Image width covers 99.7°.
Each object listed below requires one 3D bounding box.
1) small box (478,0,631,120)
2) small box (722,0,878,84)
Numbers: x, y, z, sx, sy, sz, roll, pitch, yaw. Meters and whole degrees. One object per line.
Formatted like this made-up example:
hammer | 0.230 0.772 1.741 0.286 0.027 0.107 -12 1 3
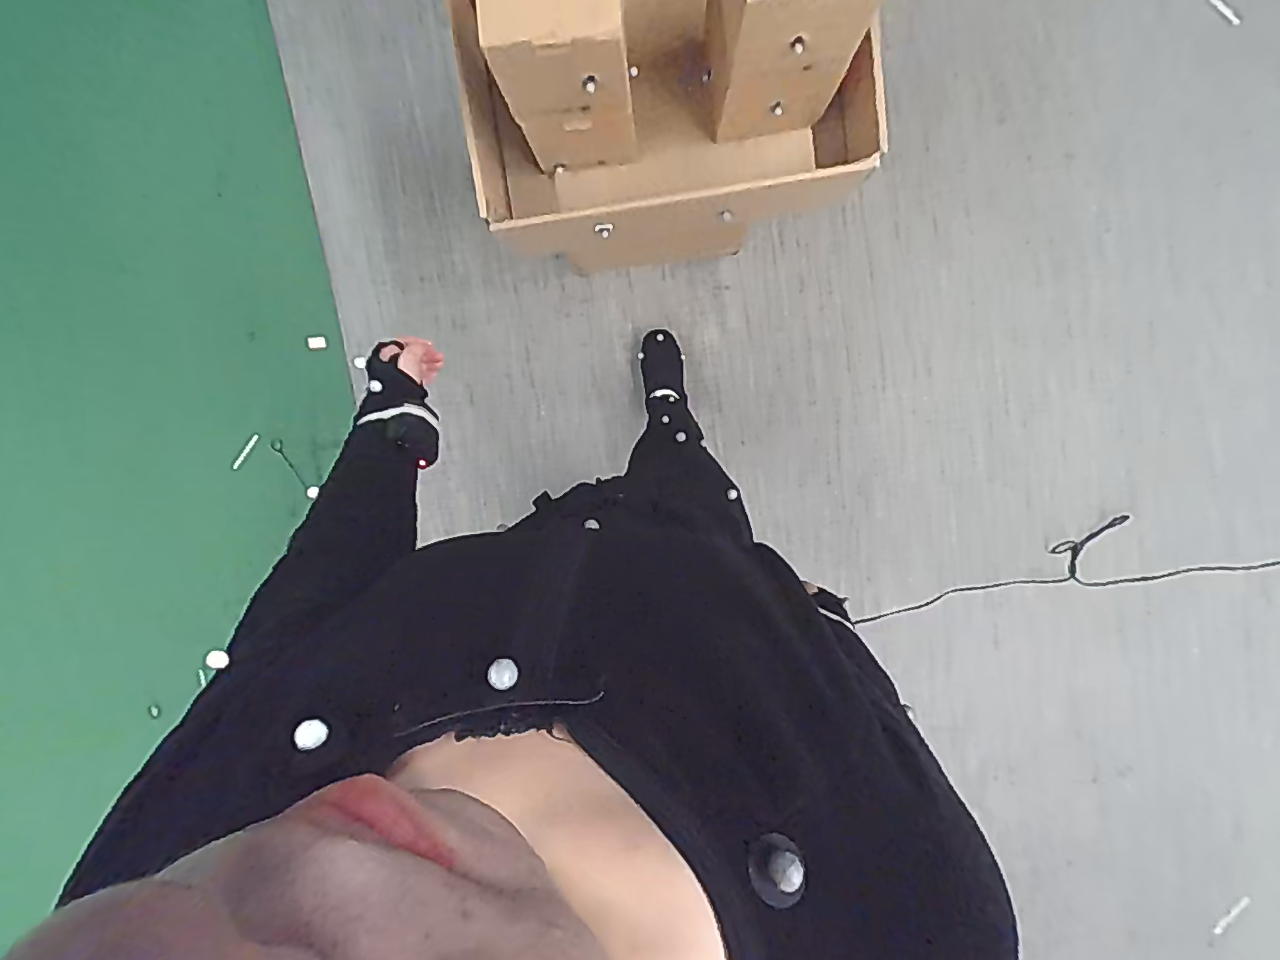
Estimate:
small box | -0.100 -0.586 0.686 0.168 0.176 0.179 -2 96 2
small box | 0.193 -0.625 0.664 0.168 0.176 0.179 -7 96 3
